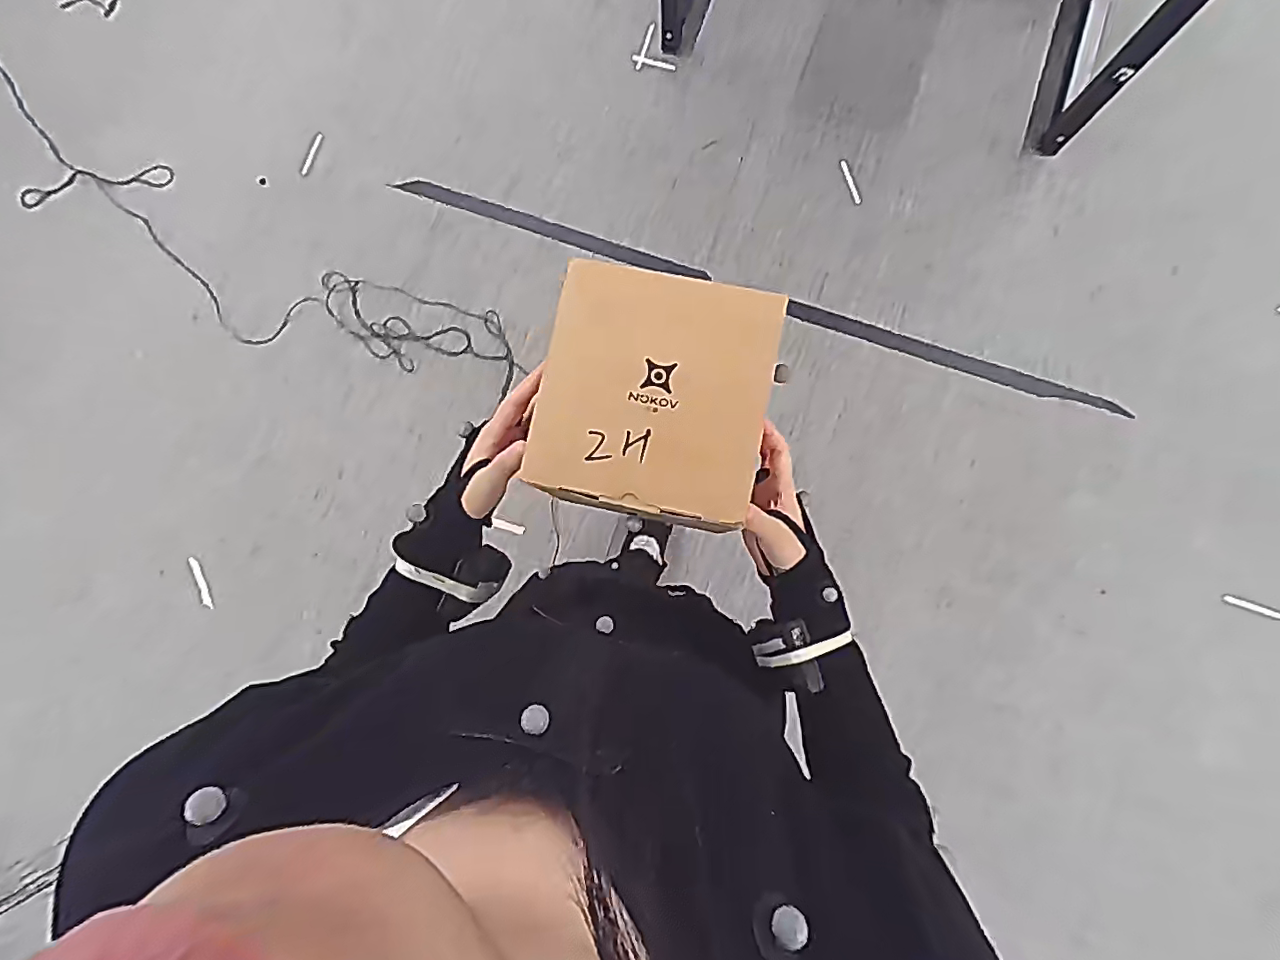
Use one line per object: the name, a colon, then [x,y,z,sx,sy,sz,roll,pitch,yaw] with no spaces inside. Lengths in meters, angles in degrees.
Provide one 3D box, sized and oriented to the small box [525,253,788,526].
small box: [0.016,-0.062,0.475,0.168,0.176,0.179,12,84,4]
